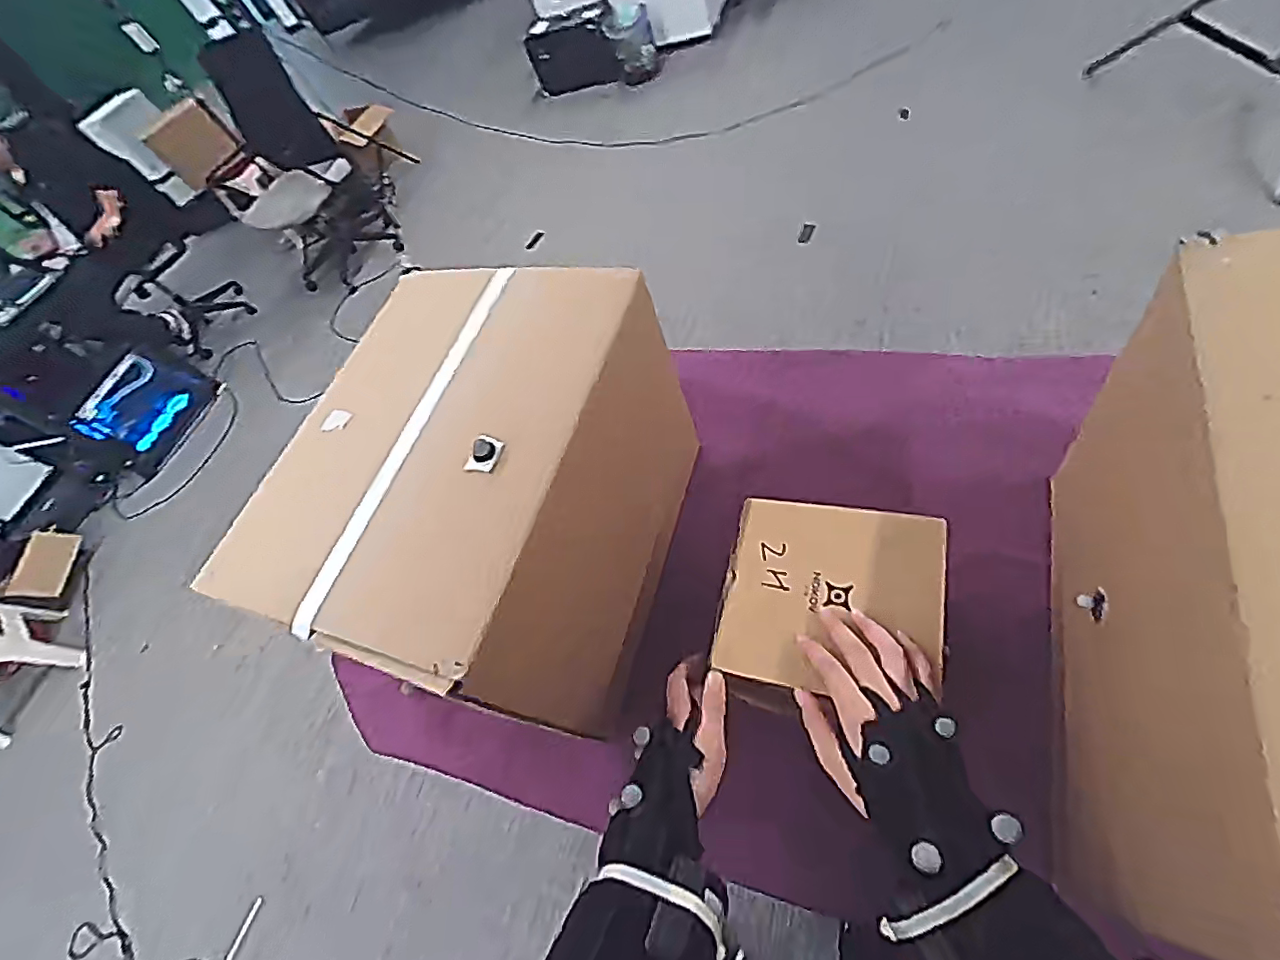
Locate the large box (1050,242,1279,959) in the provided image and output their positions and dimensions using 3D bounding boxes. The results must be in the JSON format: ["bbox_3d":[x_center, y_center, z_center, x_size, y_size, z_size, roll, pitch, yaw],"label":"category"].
[{"bbox_3d":[0.480,0.109,0.328,0.320,0.320,0.408,7,61,25],"label":"large box"}]
